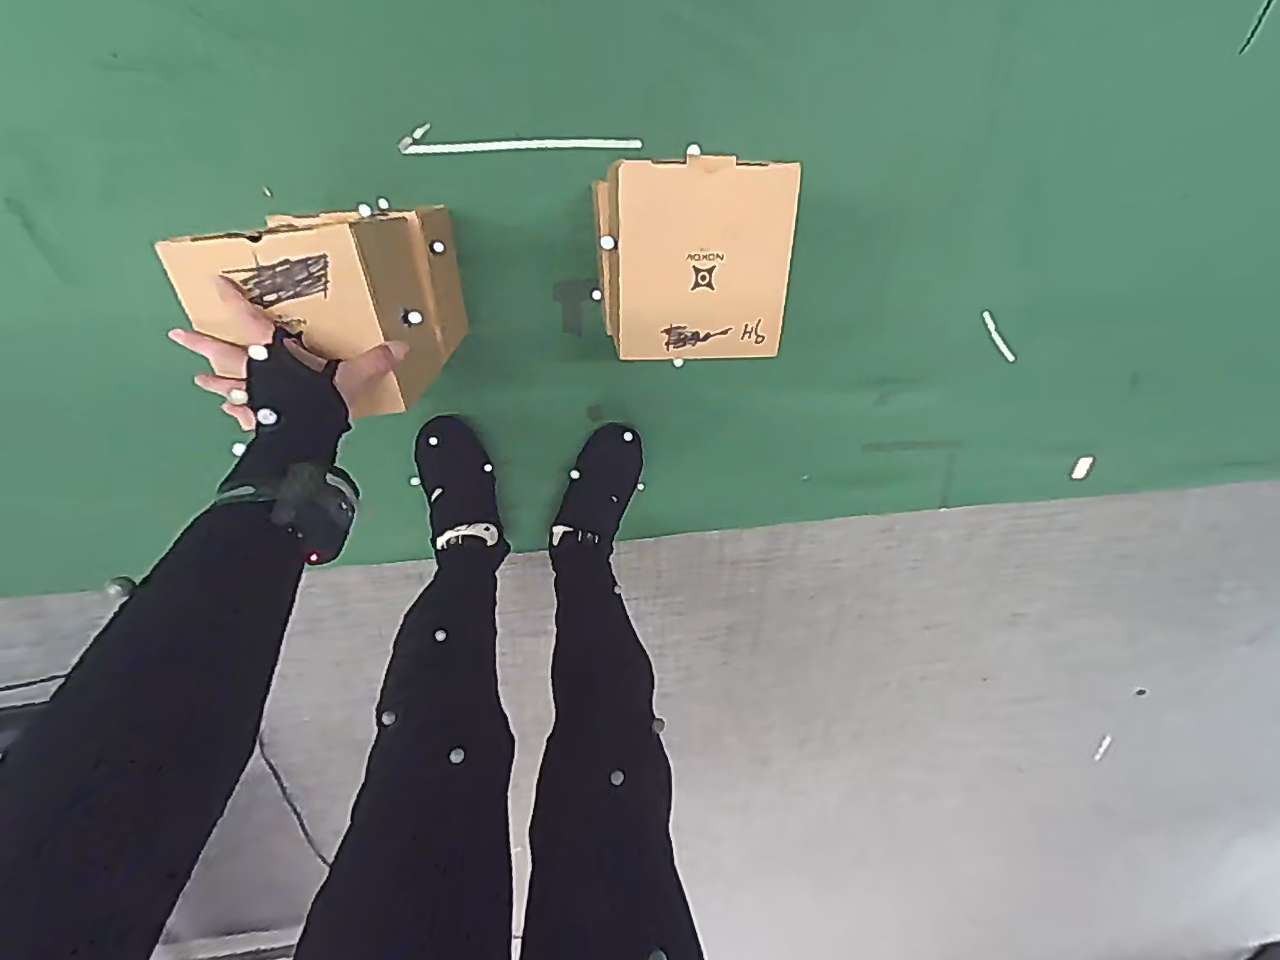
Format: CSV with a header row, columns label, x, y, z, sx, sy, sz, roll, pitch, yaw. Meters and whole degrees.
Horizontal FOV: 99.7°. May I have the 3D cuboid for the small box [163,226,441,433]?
label,x,y,z,sx,sy,sz,roll,pitch,yaw
small box,-0.328,-0.167,0.572,0.168,0.176,0.179,-6,119,-2

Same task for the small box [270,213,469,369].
label,x,y,z,sx,sy,sz,roll,pitch,yaw
small box,-0.335,-0.251,0.714,0.168,0.176,0.179,-4,117,-4

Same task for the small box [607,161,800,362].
label,x,y,z,sx,sy,sz,roll,pitch,yaw
small box,0.052,-0.233,0.578,0.168,0.176,0.179,-2,118,-6
